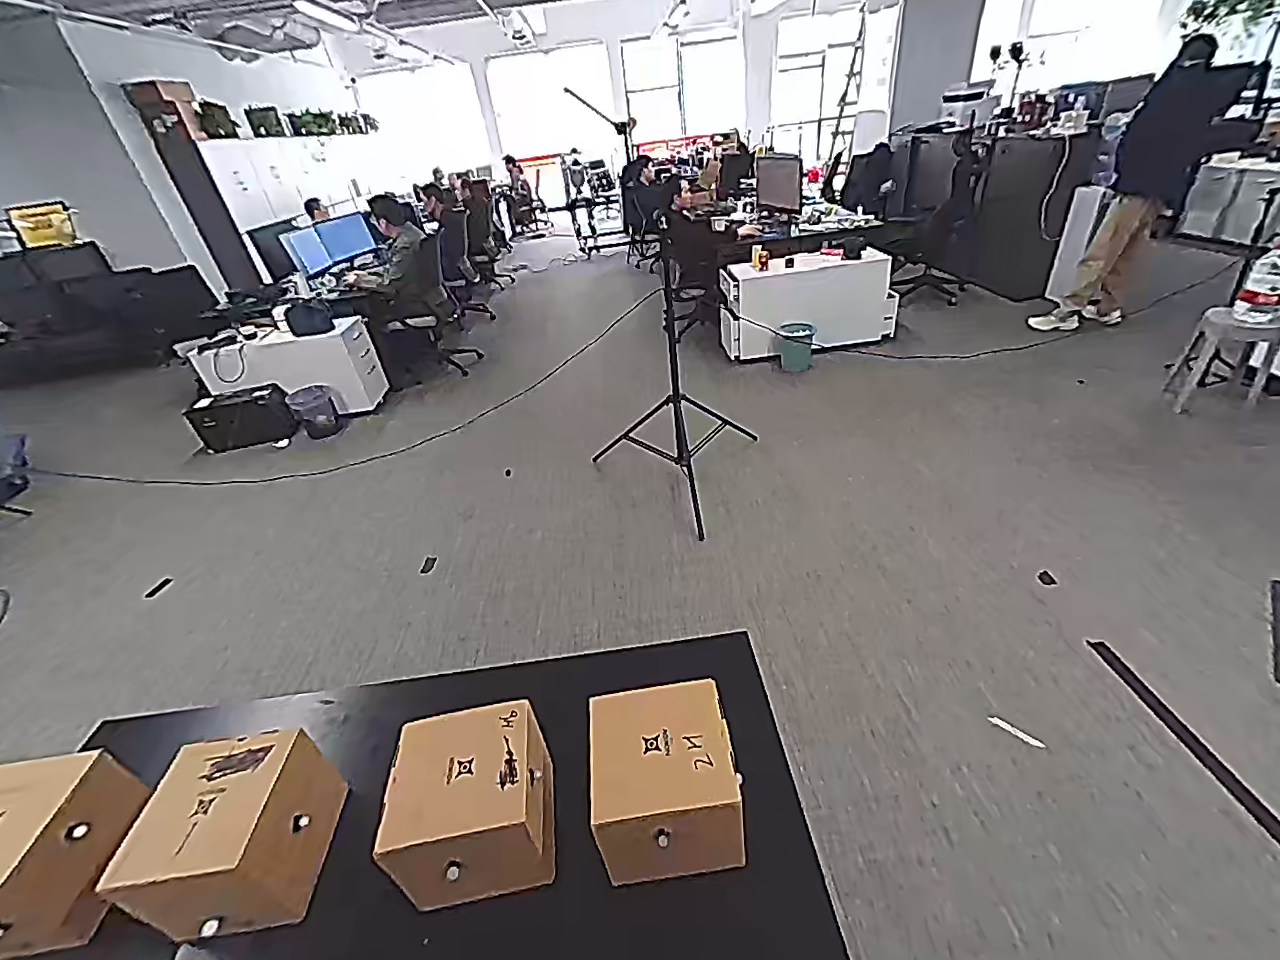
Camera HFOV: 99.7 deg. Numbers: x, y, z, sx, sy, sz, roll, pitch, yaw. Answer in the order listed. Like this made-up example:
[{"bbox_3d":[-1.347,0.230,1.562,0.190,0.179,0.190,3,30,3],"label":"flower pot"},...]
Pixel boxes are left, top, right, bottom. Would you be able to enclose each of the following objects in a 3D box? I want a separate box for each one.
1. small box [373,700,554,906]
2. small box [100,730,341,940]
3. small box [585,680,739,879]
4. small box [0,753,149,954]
[{"bbox_3d":[-0.221,0.433,0.728,0.179,0.176,0.168,-11,34,-4],"label":"small box"},{"bbox_3d":[-0.536,0.474,0.730,0.168,0.176,0.179,-9,34,-1],"label":"small box"},{"bbox_3d":[0.028,0.400,0.724,0.179,0.176,0.168,-9,33,0],"label":"small box"},{"bbox_3d":[-0.821,0.511,0.735,0.168,0.176,0.179,-8,33,-3],"label":"small box"}]
